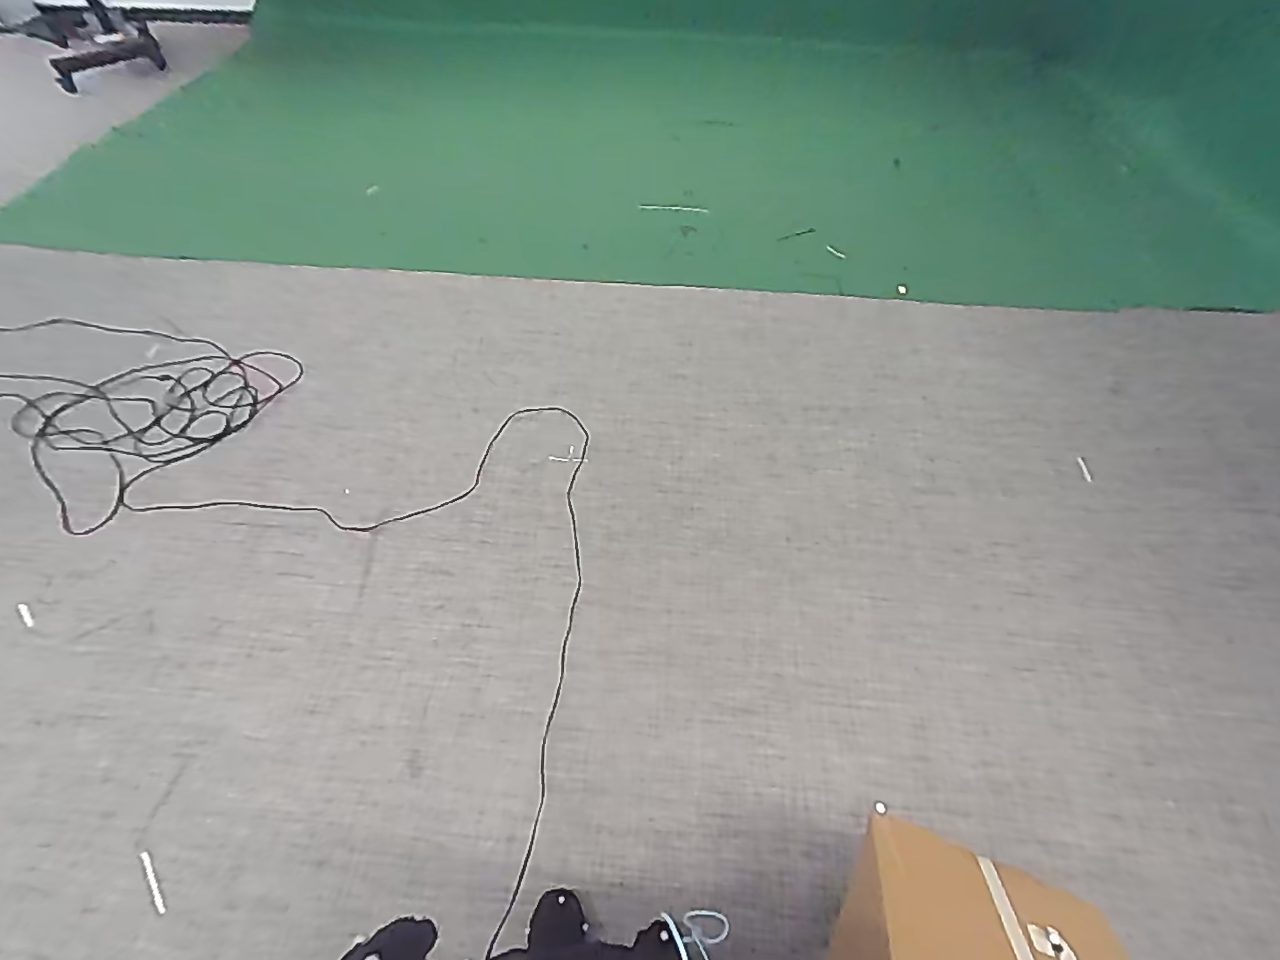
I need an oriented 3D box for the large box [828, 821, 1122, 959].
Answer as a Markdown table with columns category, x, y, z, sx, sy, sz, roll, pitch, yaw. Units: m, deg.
| category | x | y | z | sx | sy | sz | roll | pitch | yaw |
| --- | --- | --- | --- | --- | --- | --- | --- | --- | --- |
| large box | 0.402 | 0.719 | 0.629 | 0.320 | 0.408 | 0.320 | 17 | 95 | 18 |
